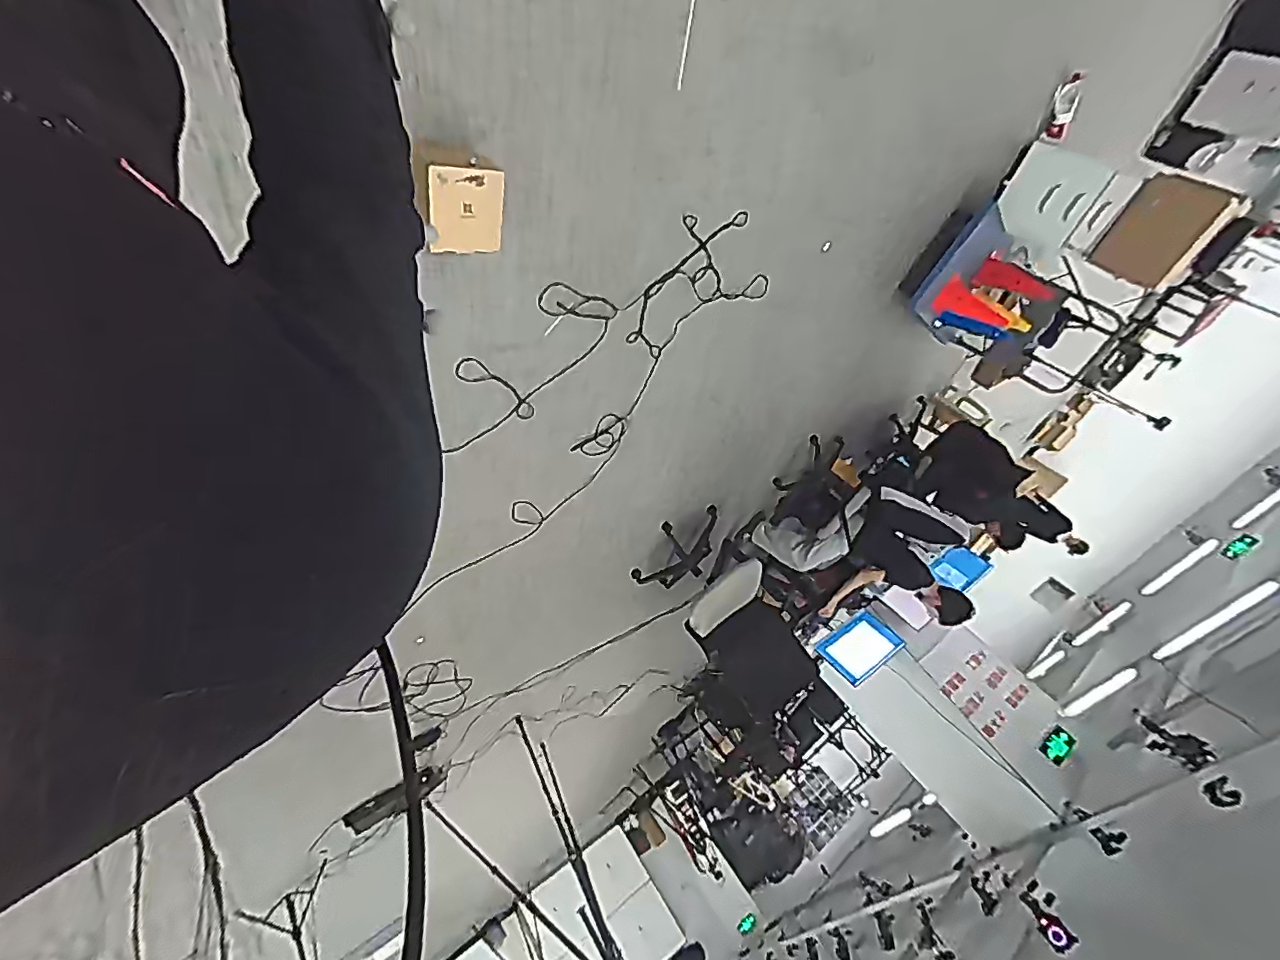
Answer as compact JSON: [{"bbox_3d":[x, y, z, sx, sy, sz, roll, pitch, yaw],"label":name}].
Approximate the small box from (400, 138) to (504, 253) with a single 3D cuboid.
[{"bbox_3d":[-0.422,-0.627,1.201,0.168,0.176,0.179,-18,142,-36],"label":"small box"}]
